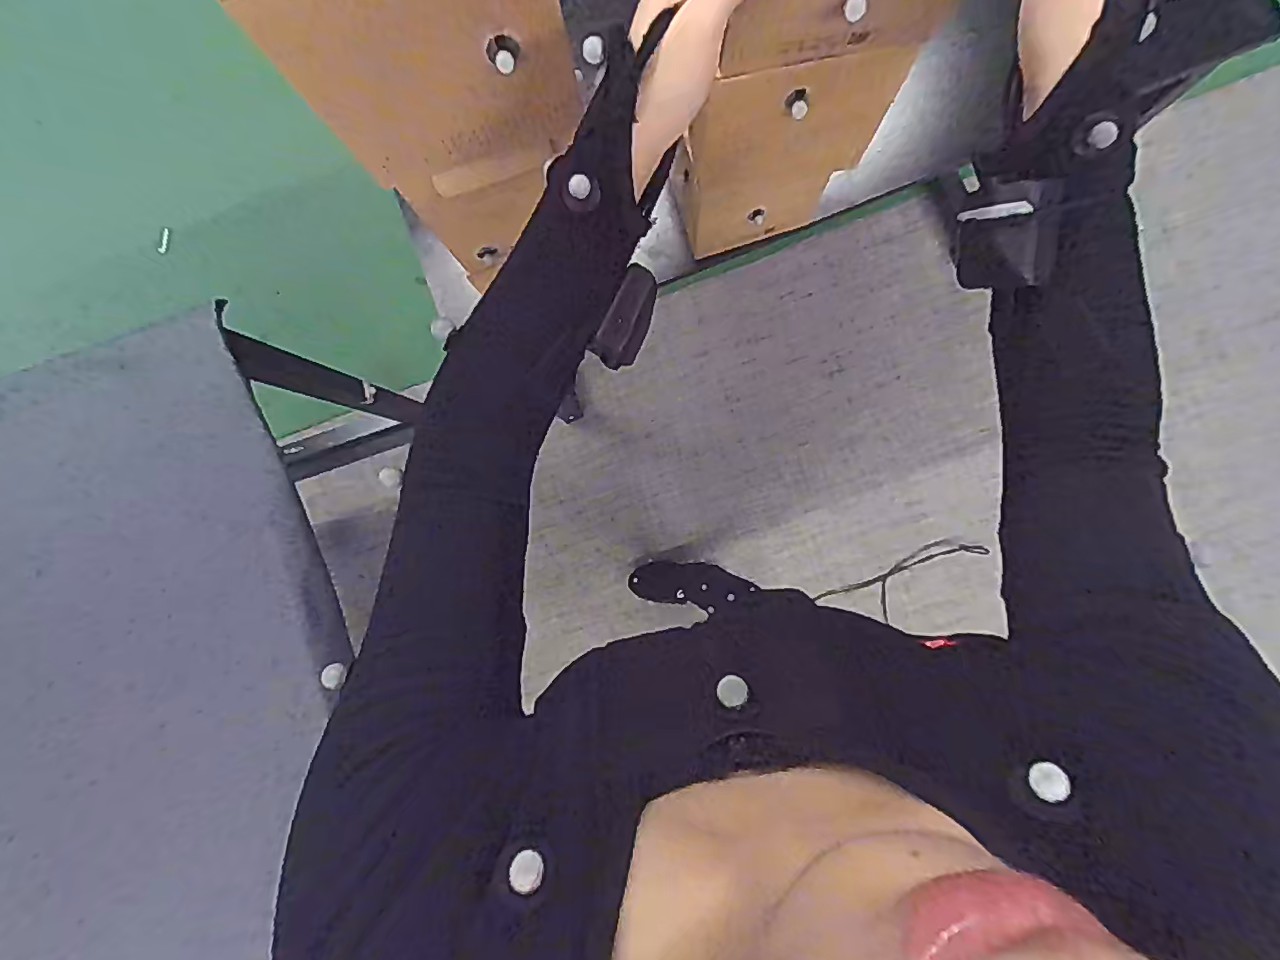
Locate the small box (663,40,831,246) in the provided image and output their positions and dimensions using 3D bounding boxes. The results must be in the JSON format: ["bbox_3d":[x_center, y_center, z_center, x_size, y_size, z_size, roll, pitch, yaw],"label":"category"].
[{"bbox_3d":[0.132,-0.418,0.671,0.168,0.176,0.179,-17,87,3],"label":"small box"}]

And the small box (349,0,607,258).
[{"bbox_3d":[-0.137,-0.341,0.522,0.168,0.176,0.179,-17,85,2],"label":"small box"}]

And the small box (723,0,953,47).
[{"bbox_3d":[0.137,-0.403,0.327,0.168,0.176,0.179,-5,102,4],"label":"small box"}]

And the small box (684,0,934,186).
[{"bbox_3d":[0.139,-0.410,0.507,0.179,0.176,0.168,-8,87,3],"label":"small box"}]
